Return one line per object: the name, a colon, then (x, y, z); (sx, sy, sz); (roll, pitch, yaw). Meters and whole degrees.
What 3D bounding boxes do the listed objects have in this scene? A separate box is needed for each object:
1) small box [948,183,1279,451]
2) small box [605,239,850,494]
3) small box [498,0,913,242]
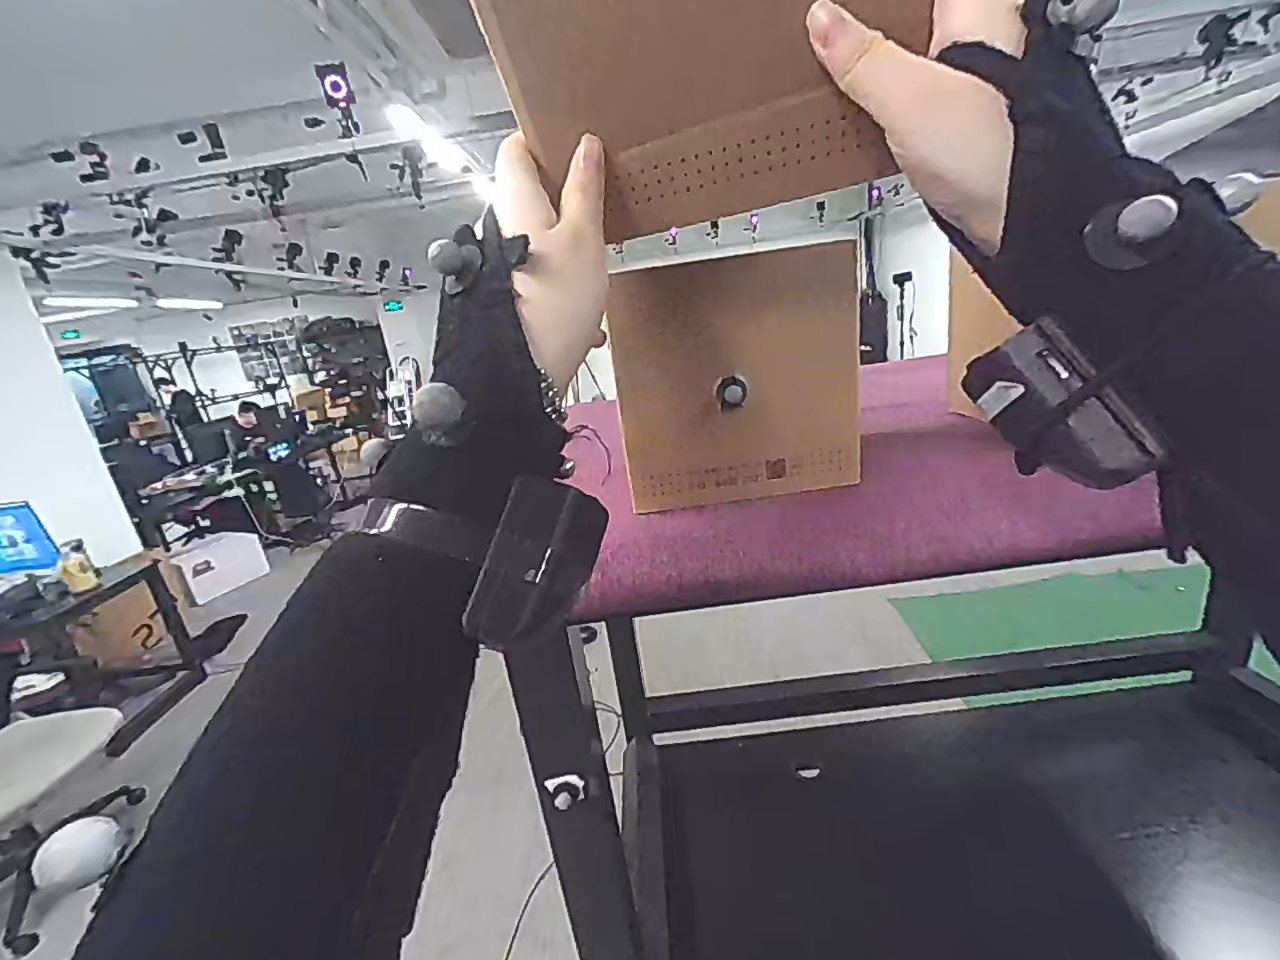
small box: (0.385, -0.131, 0.453); (0.179, 0.176, 0.168); (-9, 16, 1)
small box: (0.066, -0.091, 0.453); (0.168, 0.176, 0.179); (-7, 17, 1)
small box: (0.030, -0.245, 0.276); (0.179, 0.176, 0.168); (-8, 46, 12)
